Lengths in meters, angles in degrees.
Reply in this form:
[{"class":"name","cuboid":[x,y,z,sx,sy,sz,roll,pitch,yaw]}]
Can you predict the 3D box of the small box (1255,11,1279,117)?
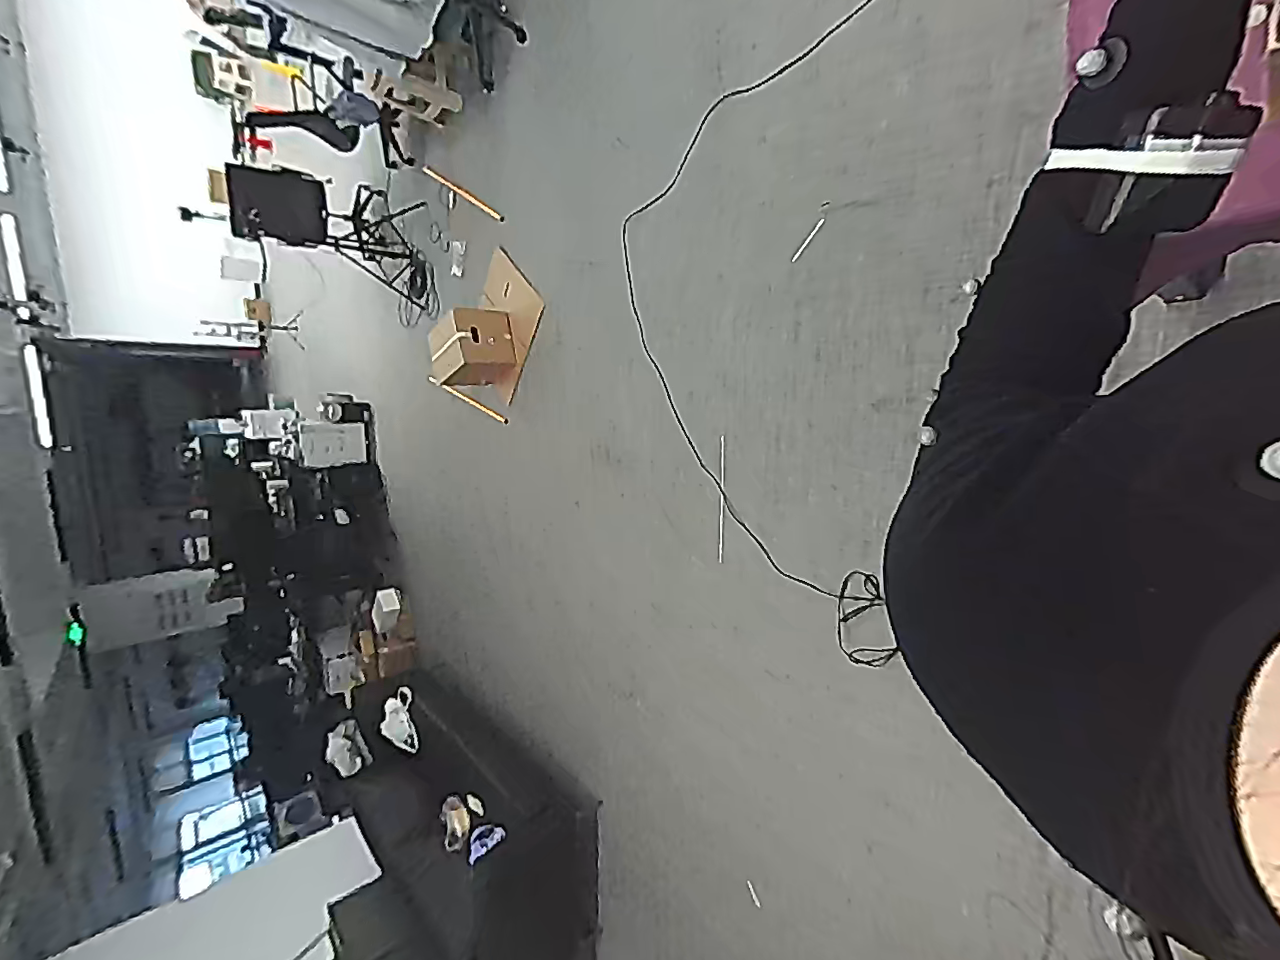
[{"class":"small box","cuboid":[0.588,-0.397,0.392,0.168,0.176,0.179,11,103,47]}]
